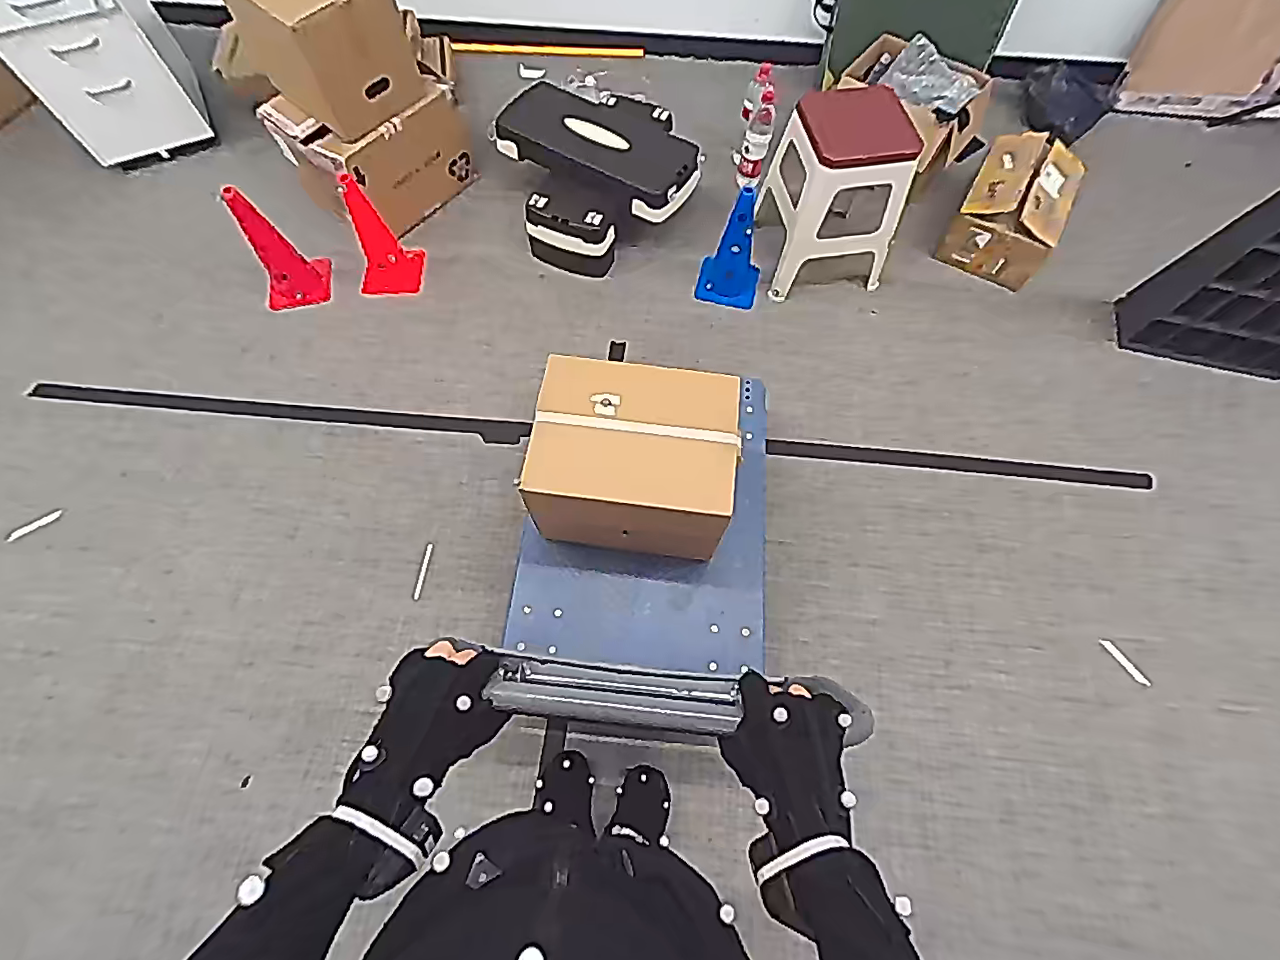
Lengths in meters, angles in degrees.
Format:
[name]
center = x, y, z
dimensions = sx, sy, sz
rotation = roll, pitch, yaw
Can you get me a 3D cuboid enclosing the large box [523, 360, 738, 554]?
[large box]
center = -0.008, -0.036, 1.209
dimensions = 0.408, 0.320, 0.320
rotation = 7, 66, 3
